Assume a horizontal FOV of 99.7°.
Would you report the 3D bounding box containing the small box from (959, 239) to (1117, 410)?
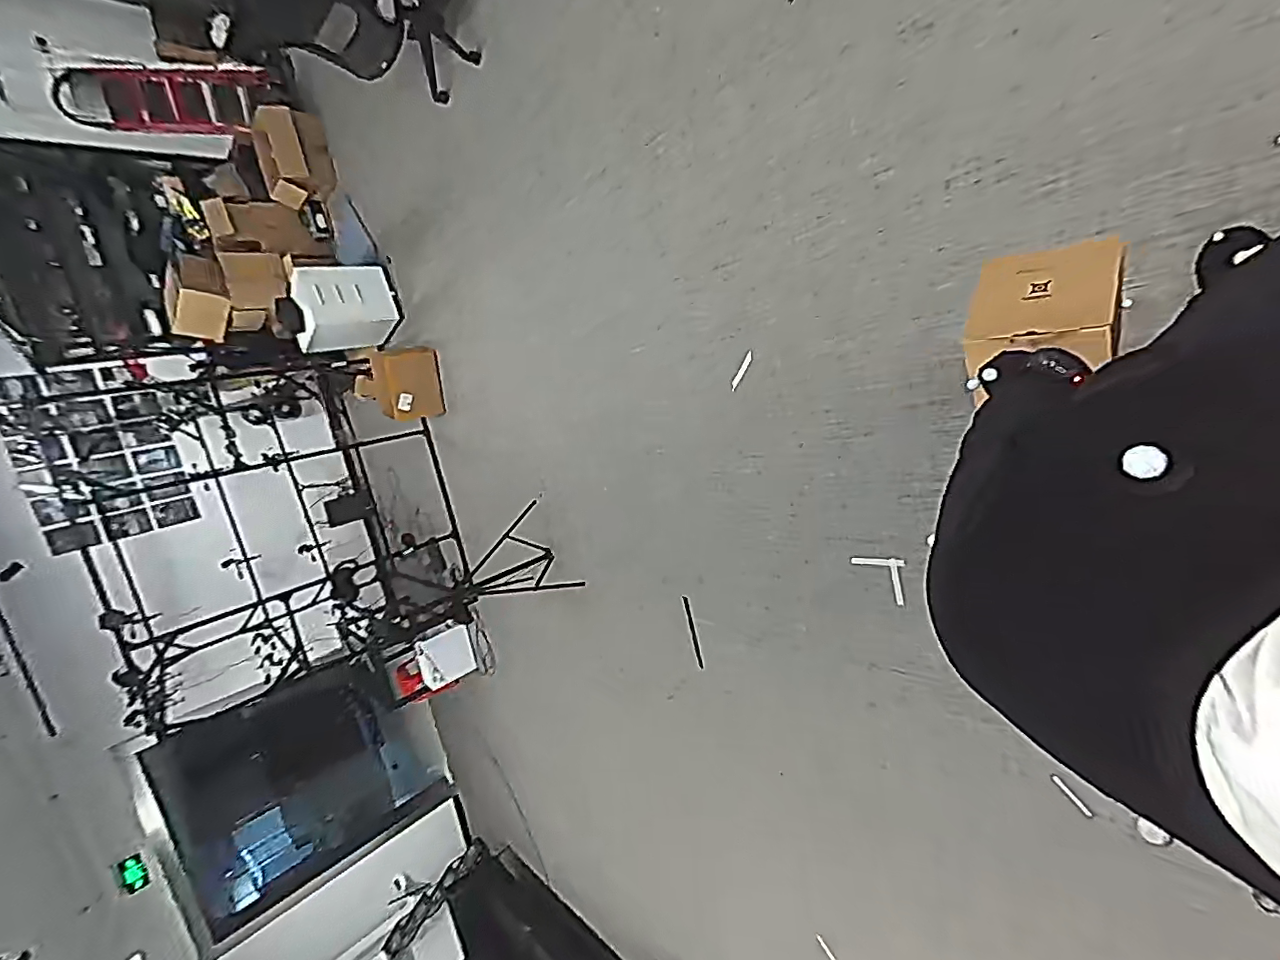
[{"bbox_3d":[0.597,-0.217,0.807,0.168,0.179,0.176,4,147,42],"label":"small box"}]
